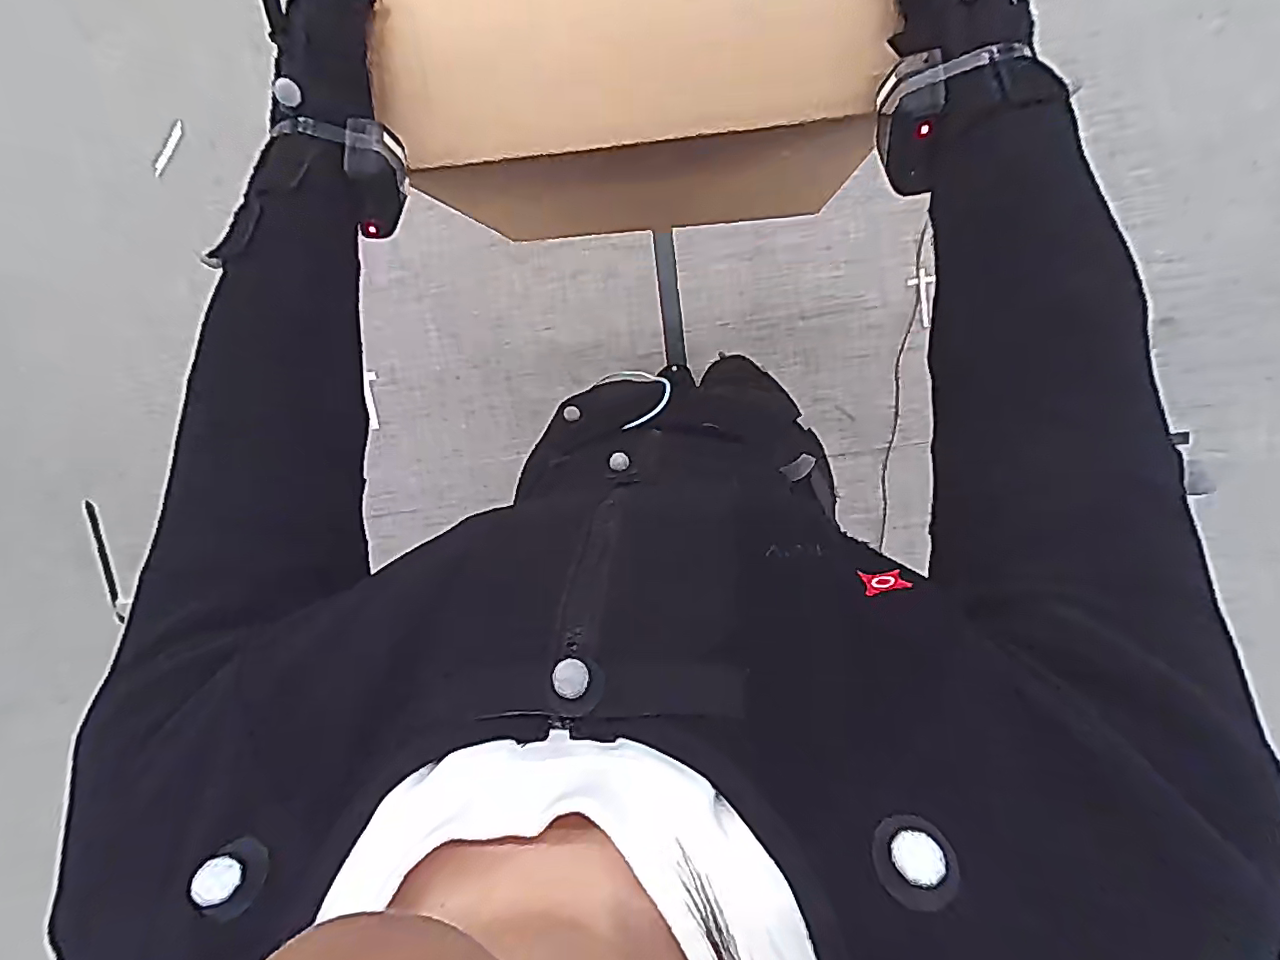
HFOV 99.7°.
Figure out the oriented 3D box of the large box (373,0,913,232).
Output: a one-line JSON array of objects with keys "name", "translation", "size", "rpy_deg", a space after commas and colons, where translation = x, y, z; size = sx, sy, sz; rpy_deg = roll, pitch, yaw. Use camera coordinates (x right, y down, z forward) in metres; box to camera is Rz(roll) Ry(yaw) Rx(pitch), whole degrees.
[{"name": "large box", "translation": [0.001, -0.456, 0.525], "size": [0.408, 0.320, 0.320], "rpy_deg": [-3, 104, 6]}]
